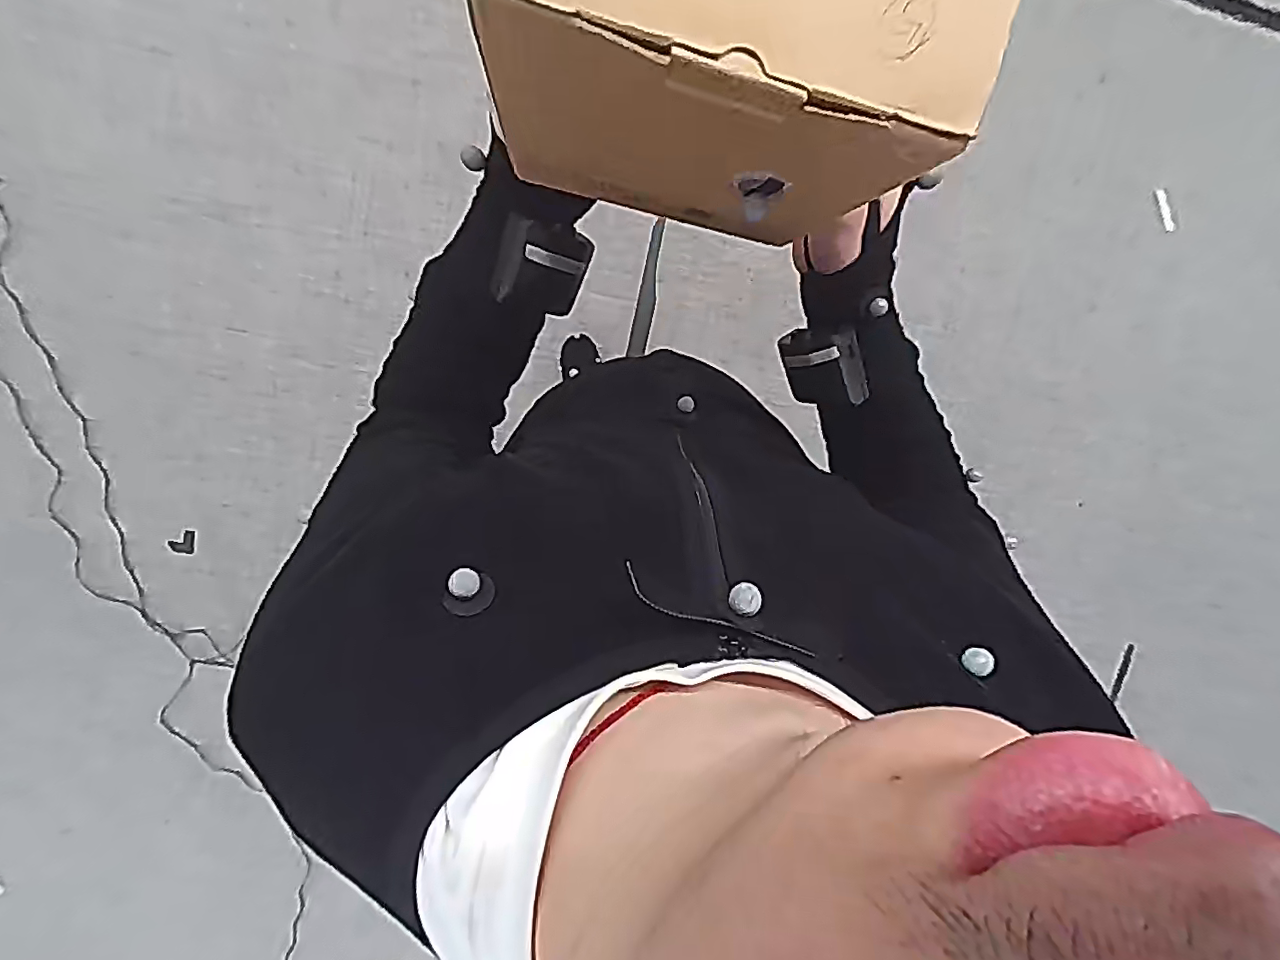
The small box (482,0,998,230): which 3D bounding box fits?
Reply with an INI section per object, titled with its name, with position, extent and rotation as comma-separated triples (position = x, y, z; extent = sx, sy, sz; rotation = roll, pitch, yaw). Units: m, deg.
[small box]
position = 0.037, -0.230, 0.235
extent = 0.168, 0.176, 0.179
rotation = 9, 101, -11
